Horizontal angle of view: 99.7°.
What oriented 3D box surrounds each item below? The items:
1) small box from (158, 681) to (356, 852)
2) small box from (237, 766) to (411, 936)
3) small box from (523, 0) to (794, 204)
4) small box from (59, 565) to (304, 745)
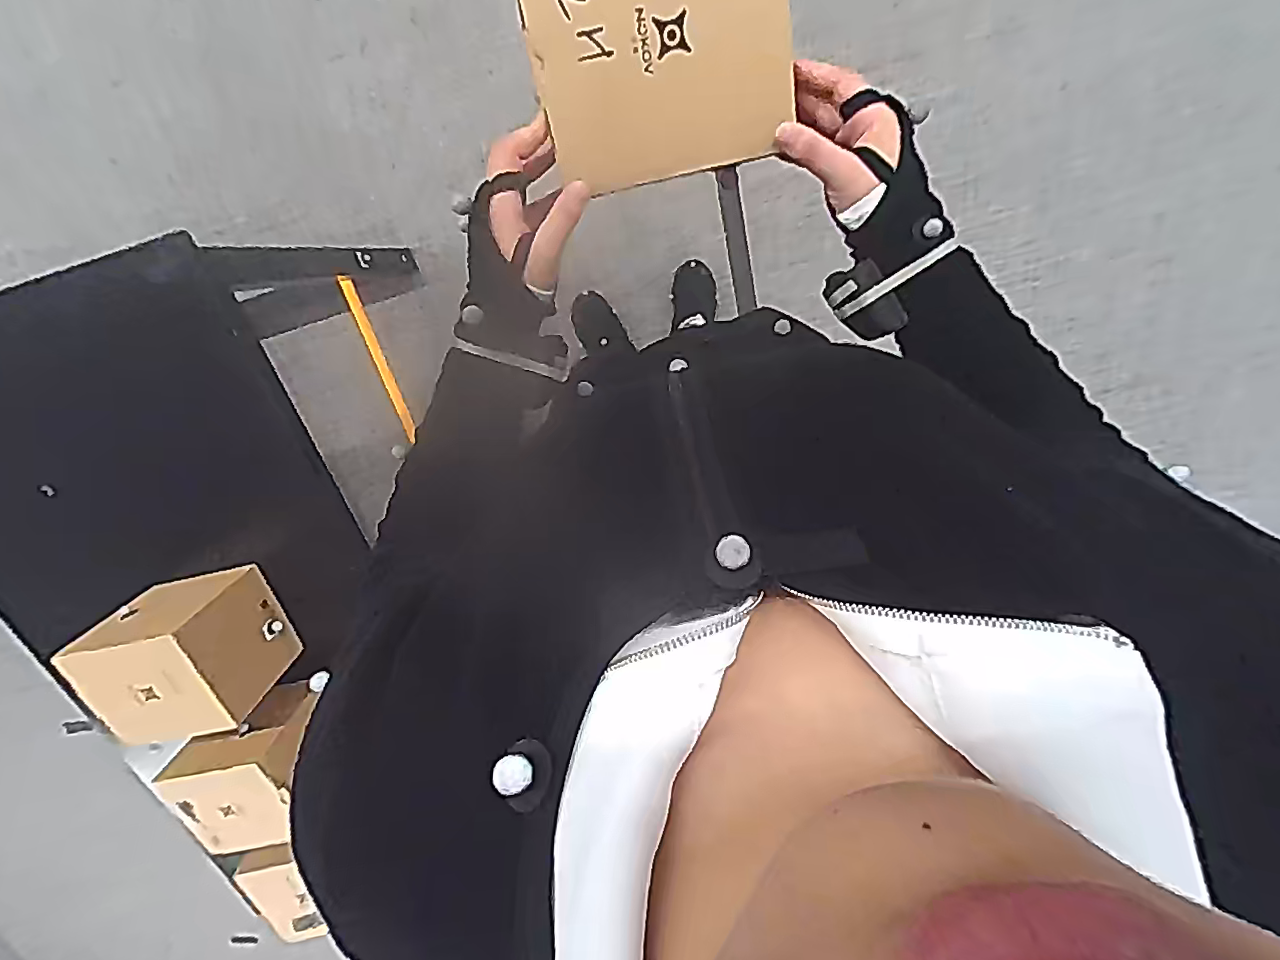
[{"bbox_3d":[-0.592,0.452,0.871,0.179,0.176,0.168,-13,112,5],"label":"small box"},{"bbox_3d":[-0.535,0.644,0.948,0.168,0.176,0.179,-16,110,6],"label":"small box"},{"bbox_3d":[0.013,-0.334,0.439,0.179,0.176,0.168,-10,118,5],"label":"small box"},{"bbox_3d":[-0.646,0.248,0.790,0.179,0.176,0.168,-13,113,5],"label":"small box"}]
